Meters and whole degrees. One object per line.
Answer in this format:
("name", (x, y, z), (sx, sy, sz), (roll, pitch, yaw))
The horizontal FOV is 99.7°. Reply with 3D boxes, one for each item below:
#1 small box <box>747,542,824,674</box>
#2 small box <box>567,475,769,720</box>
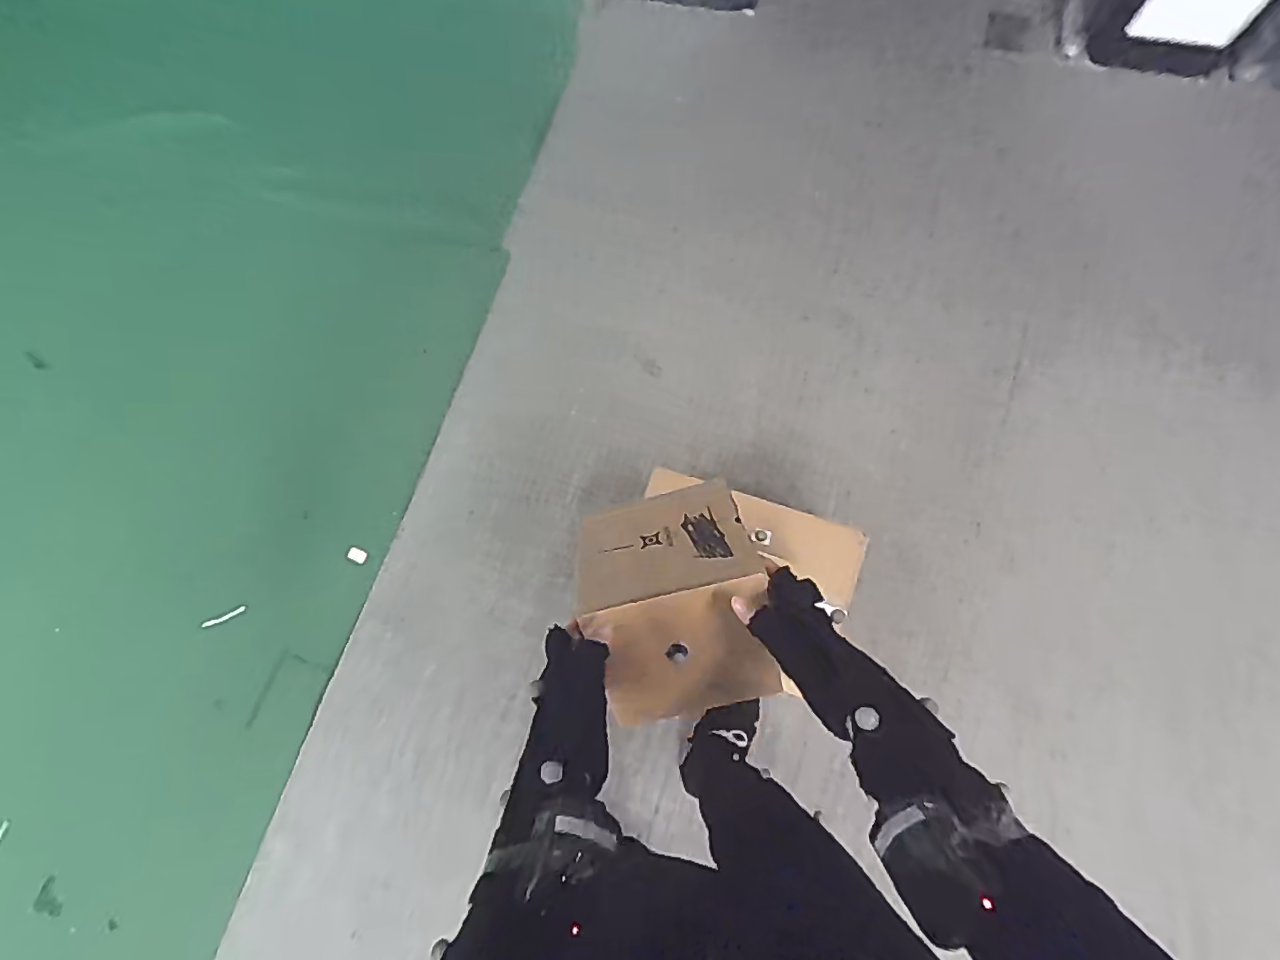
("small box", (0.175, 0.195, 0.881), (0.179, 0.176, 0.168), (18, 83, 9))
("small box", (0.032, 0.125, 0.582), (0.179, 0.176, 0.168), (-16, 32, 4))
